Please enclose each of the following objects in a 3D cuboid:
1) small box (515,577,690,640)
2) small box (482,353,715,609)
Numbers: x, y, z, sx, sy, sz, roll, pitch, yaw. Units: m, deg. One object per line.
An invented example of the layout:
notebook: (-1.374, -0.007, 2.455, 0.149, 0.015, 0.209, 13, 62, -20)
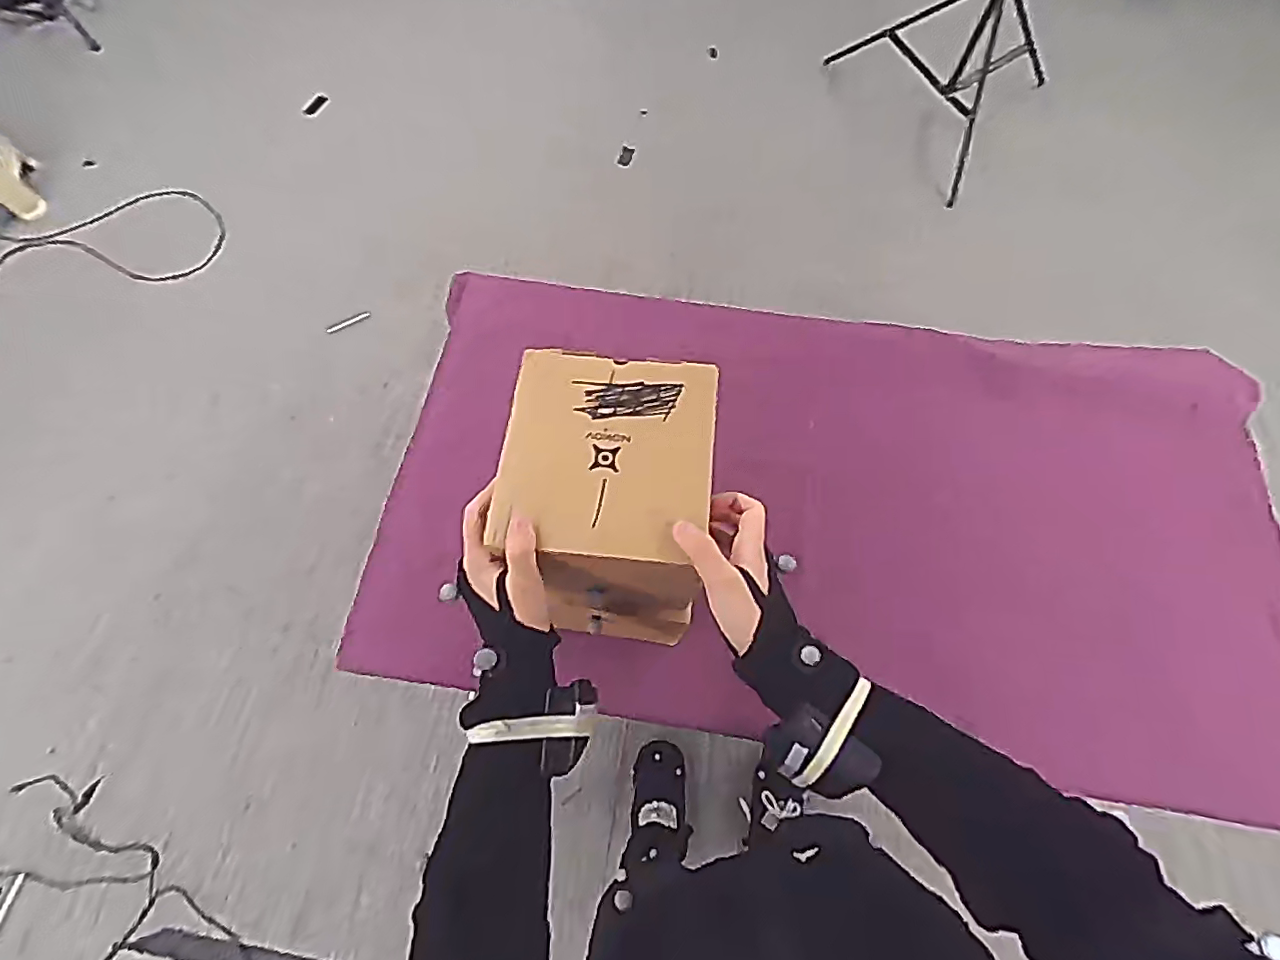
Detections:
small box: (-0.029, 0.090, 0.642, 0.179, 0.176, 0.168, 8, 67, 3)
small box: (-0.027, 0.010, 0.497, 0.168, 0.176, 0.179, 5, 67, 3)
